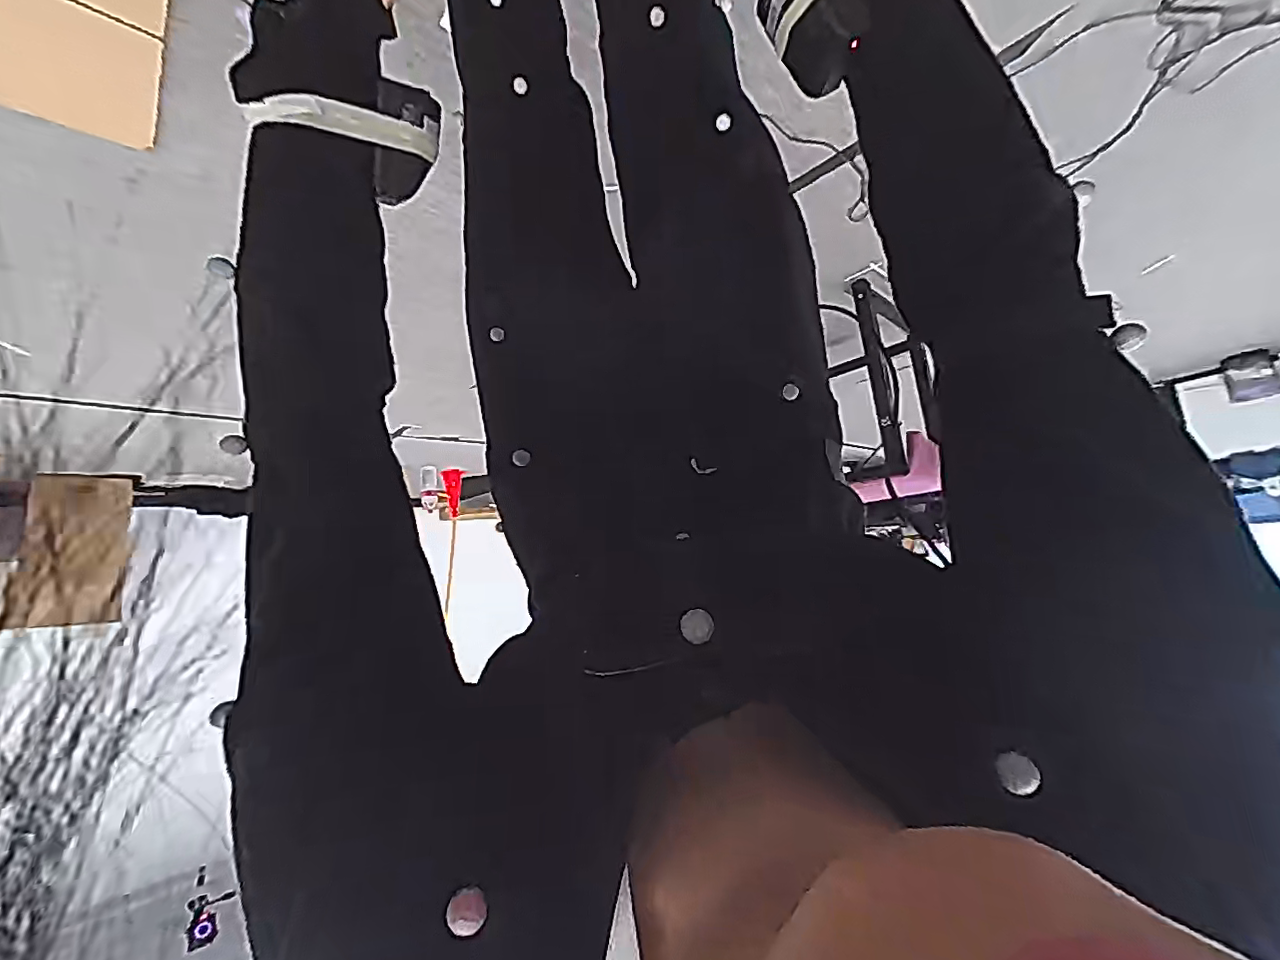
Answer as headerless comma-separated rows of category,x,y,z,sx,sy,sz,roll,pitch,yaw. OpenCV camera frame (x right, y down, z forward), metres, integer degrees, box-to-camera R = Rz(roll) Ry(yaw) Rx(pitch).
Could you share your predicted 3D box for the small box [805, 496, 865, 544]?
small box,0.773,0.161,2.155,0.179,0.176,0.168,-15,168,39
